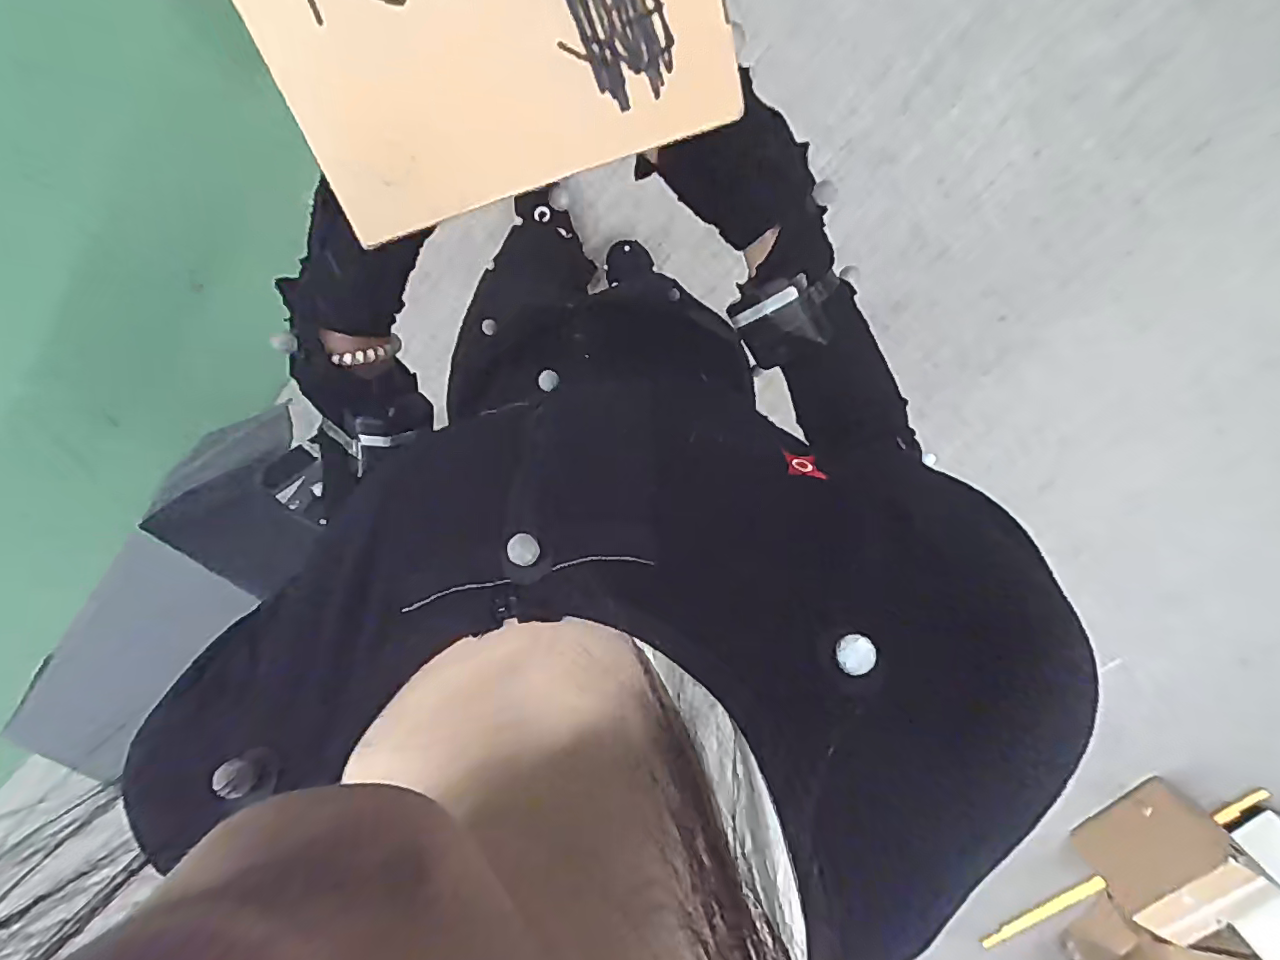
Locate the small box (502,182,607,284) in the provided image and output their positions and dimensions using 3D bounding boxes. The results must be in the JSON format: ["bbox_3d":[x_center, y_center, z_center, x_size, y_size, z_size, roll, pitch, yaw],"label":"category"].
[{"bbox_3d":[-0.198,-0.562,1.222,0.179,0.176,0.168,24,126,11],"label":"small box"}]
